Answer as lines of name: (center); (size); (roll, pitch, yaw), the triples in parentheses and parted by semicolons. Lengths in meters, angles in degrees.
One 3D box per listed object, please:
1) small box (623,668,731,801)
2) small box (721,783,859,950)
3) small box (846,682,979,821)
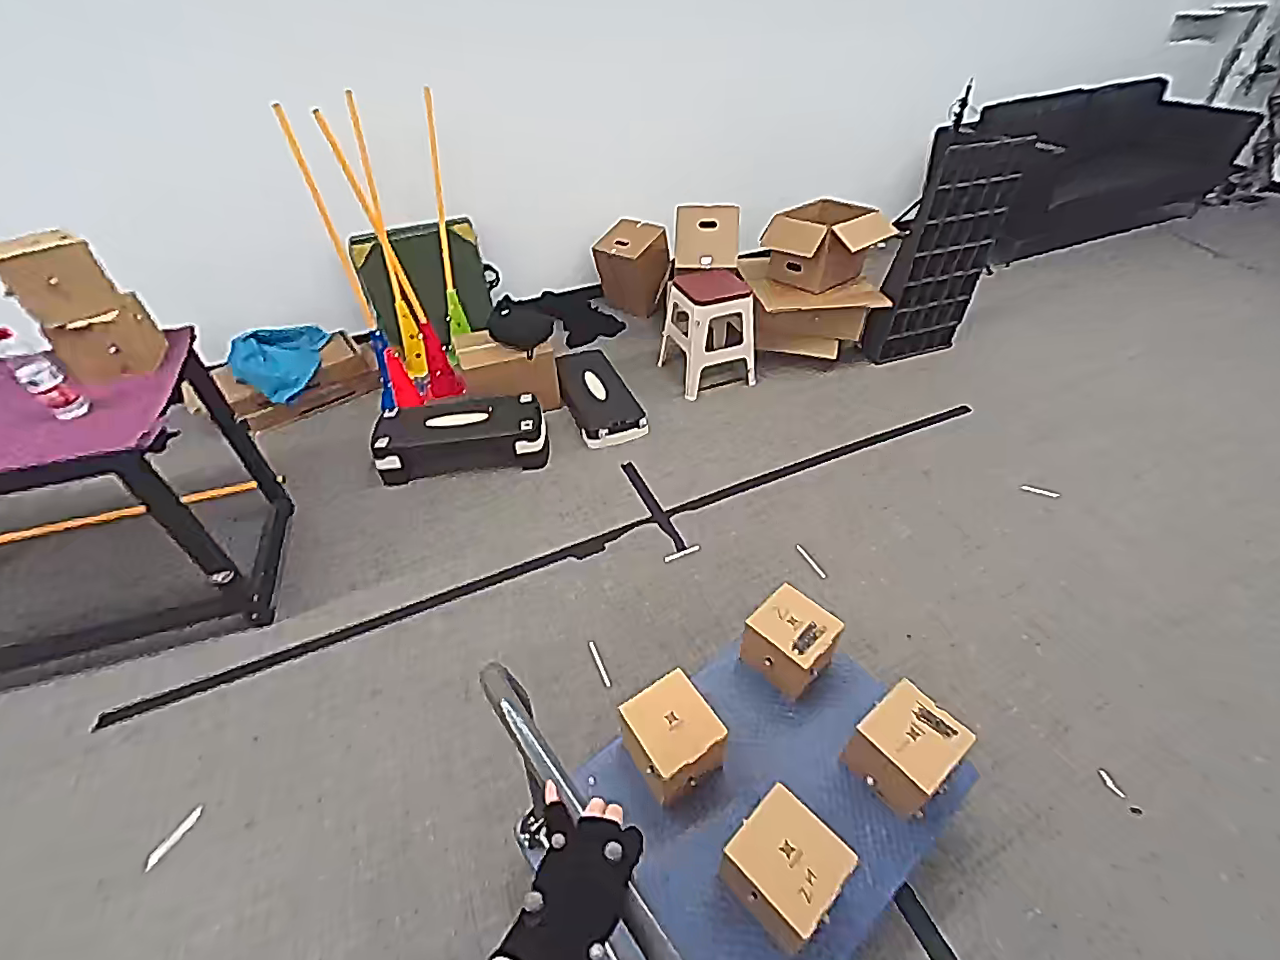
small box: (0.074, 0.558, 1.182); (0.168, 0.176, 0.179); (-24, 49, -23)
small box: (0.268, 0.717, 1.002); (0.168, 0.176, 0.179); (-33, 51, -29)
small box: (0.566, 0.575, 1.148); (0.179, 0.176, 0.168); (-29, 49, -25)
